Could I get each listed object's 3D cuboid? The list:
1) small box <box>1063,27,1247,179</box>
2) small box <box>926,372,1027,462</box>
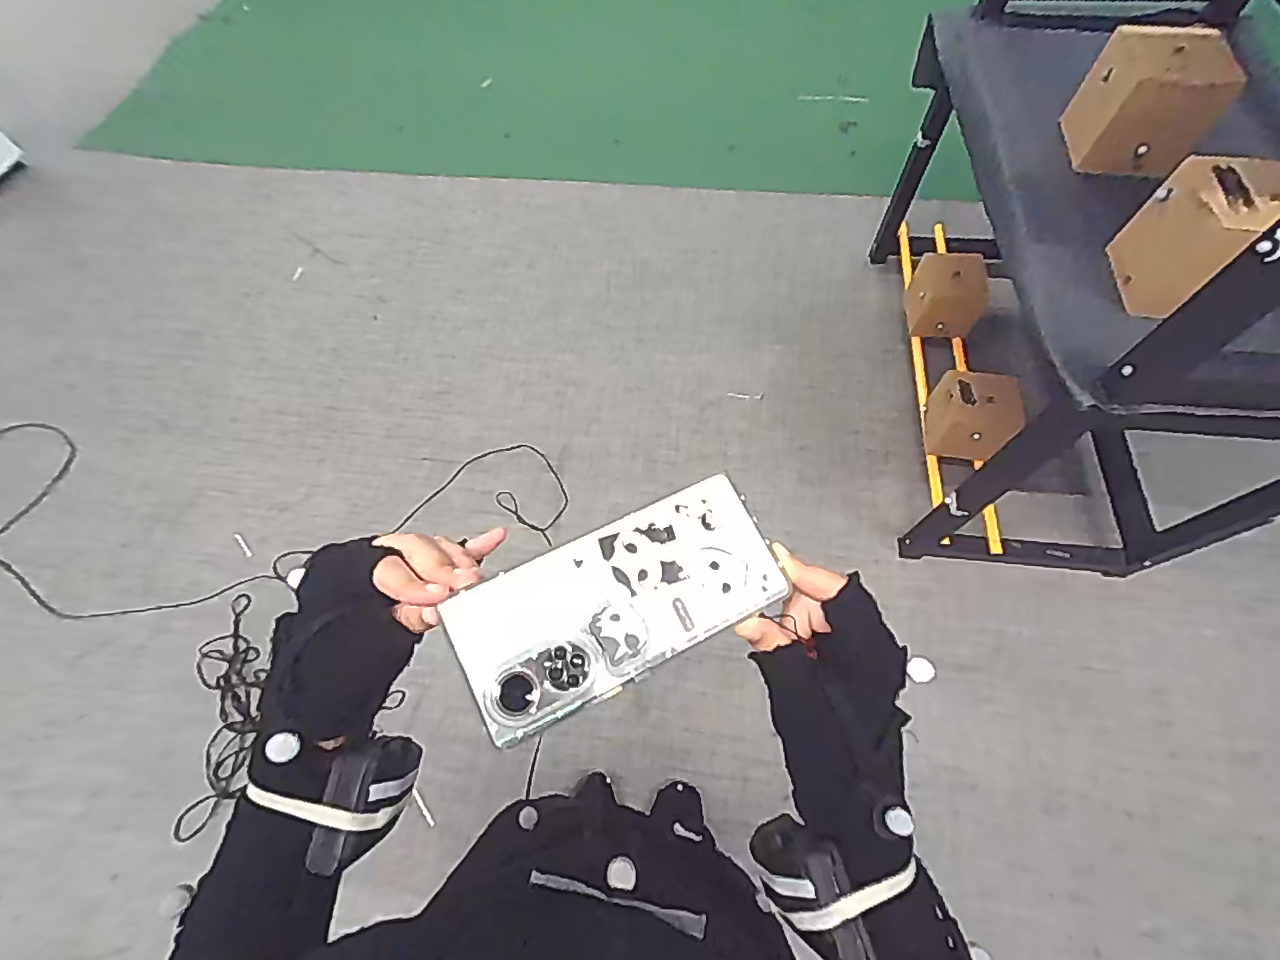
[{"bbox_3d":[0.933,-0.697,1.004,0.168,0.176,0.179,8,63,7],"label":"small box"},{"bbox_3d":[0.879,-0.163,1.434,0.179,0.176,0.168,8,64,7],"label":"small box"}]
